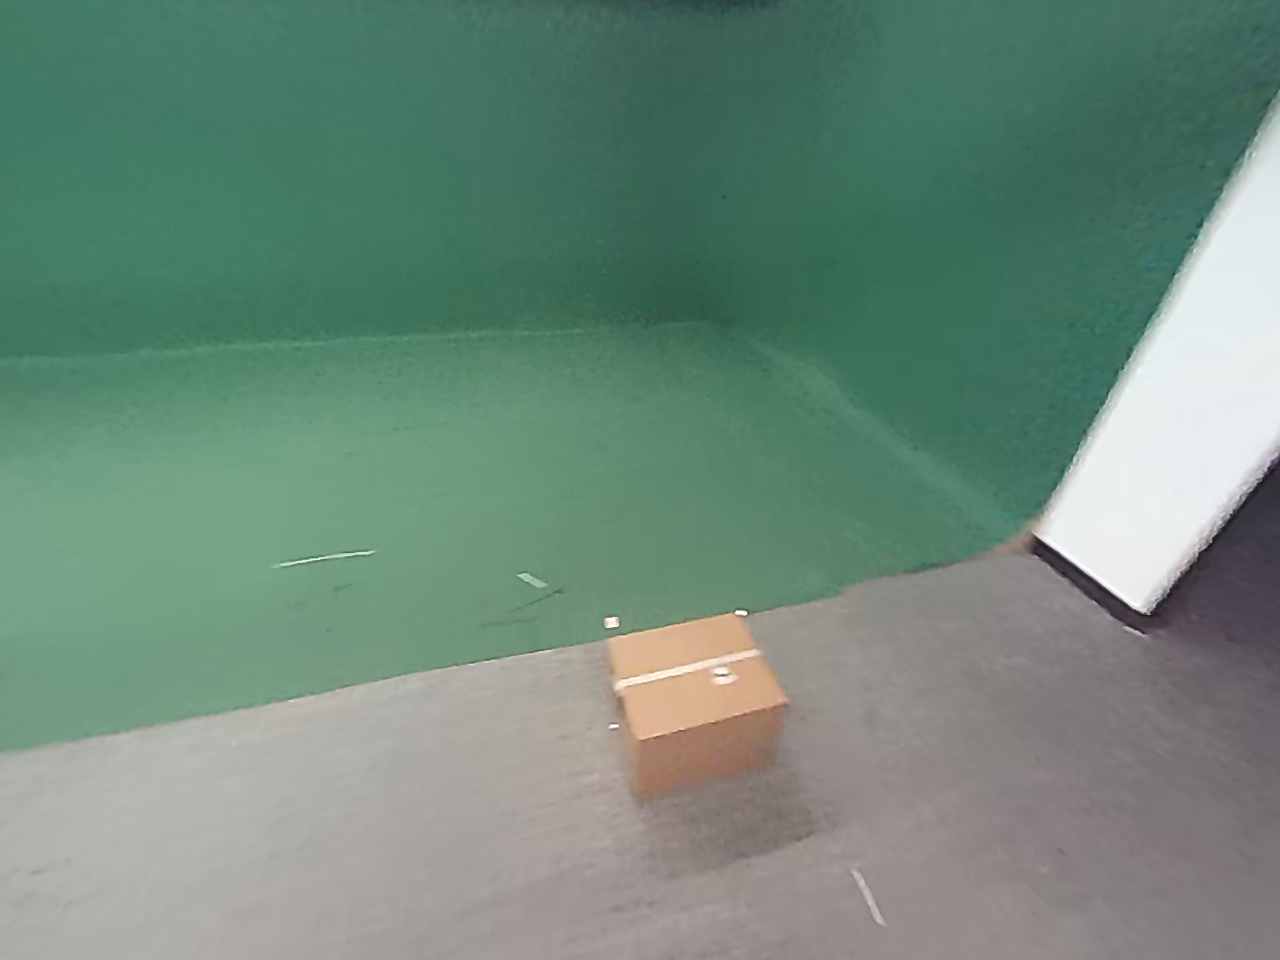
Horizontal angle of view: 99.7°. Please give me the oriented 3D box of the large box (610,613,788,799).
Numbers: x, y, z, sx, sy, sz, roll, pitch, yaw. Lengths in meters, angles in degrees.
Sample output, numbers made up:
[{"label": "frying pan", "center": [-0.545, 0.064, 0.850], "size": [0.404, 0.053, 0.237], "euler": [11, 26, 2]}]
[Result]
[{"label": "large box", "center": [0.143, 0.625, 1.524], "size": [0.408, 0.320, 0.320], "euler": [-7, 35, -14]}]
